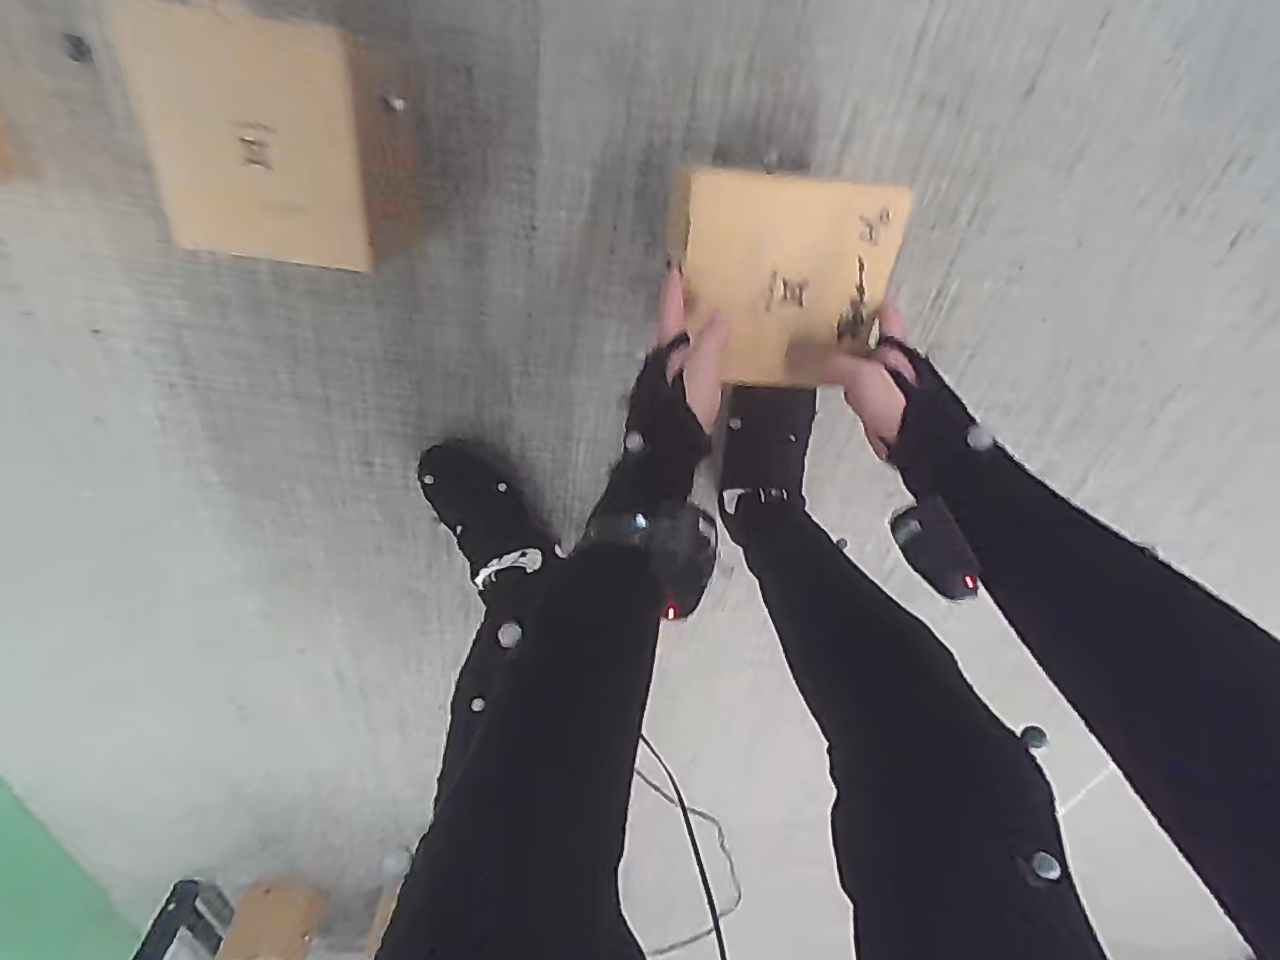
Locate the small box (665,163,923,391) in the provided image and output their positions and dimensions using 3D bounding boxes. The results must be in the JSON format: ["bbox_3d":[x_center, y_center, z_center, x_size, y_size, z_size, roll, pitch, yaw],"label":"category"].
[{"bbox_3d":[0.119,-0.195,0.508,0.179,0.176,0.168,3,121,-3],"label":"small box"}]

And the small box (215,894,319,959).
[{"bbox_3d":[-0.999,1.242,1.452,0.168,0.176,0.179,4,123,-4],"label":"small box"}]

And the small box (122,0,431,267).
[{"bbox_3d":[-0.304,-0.315,0.500,0.168,0.176,0.179,7,122,-5],"label":"small box"}]
